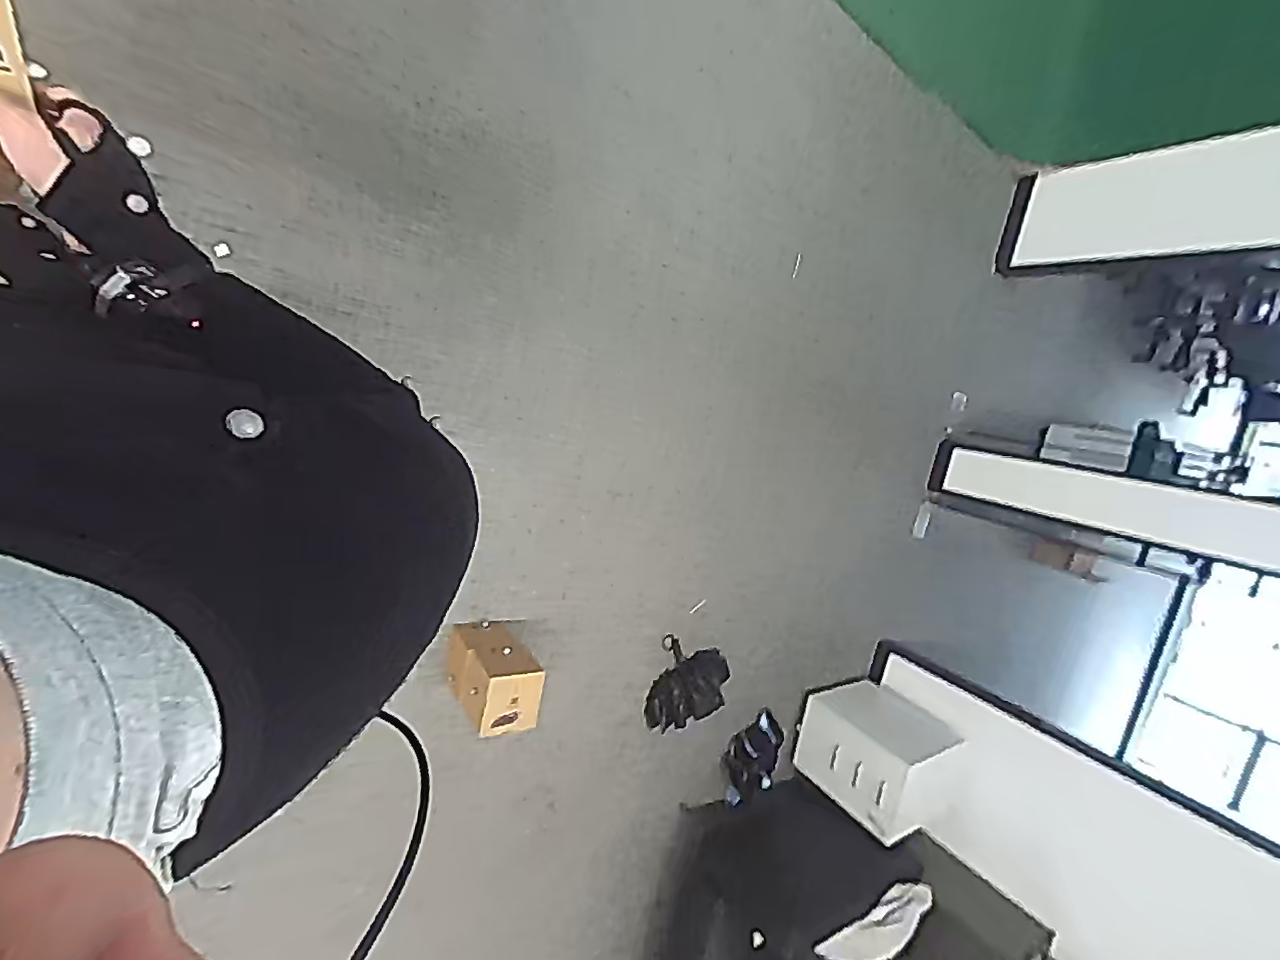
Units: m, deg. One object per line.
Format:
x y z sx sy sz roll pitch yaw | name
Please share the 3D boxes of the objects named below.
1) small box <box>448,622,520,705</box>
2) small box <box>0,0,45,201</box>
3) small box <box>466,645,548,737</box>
-0.485 0.560 1.672 0.168 0.176 0.179 4 100 -37 | small box
-0.570 -0.314 0.376 0.179 0.176 0.168 -17 106 -53 | small box
-0.385 0.594 1.546 0.168 0.176 0.179 6 99 -37 | small box
